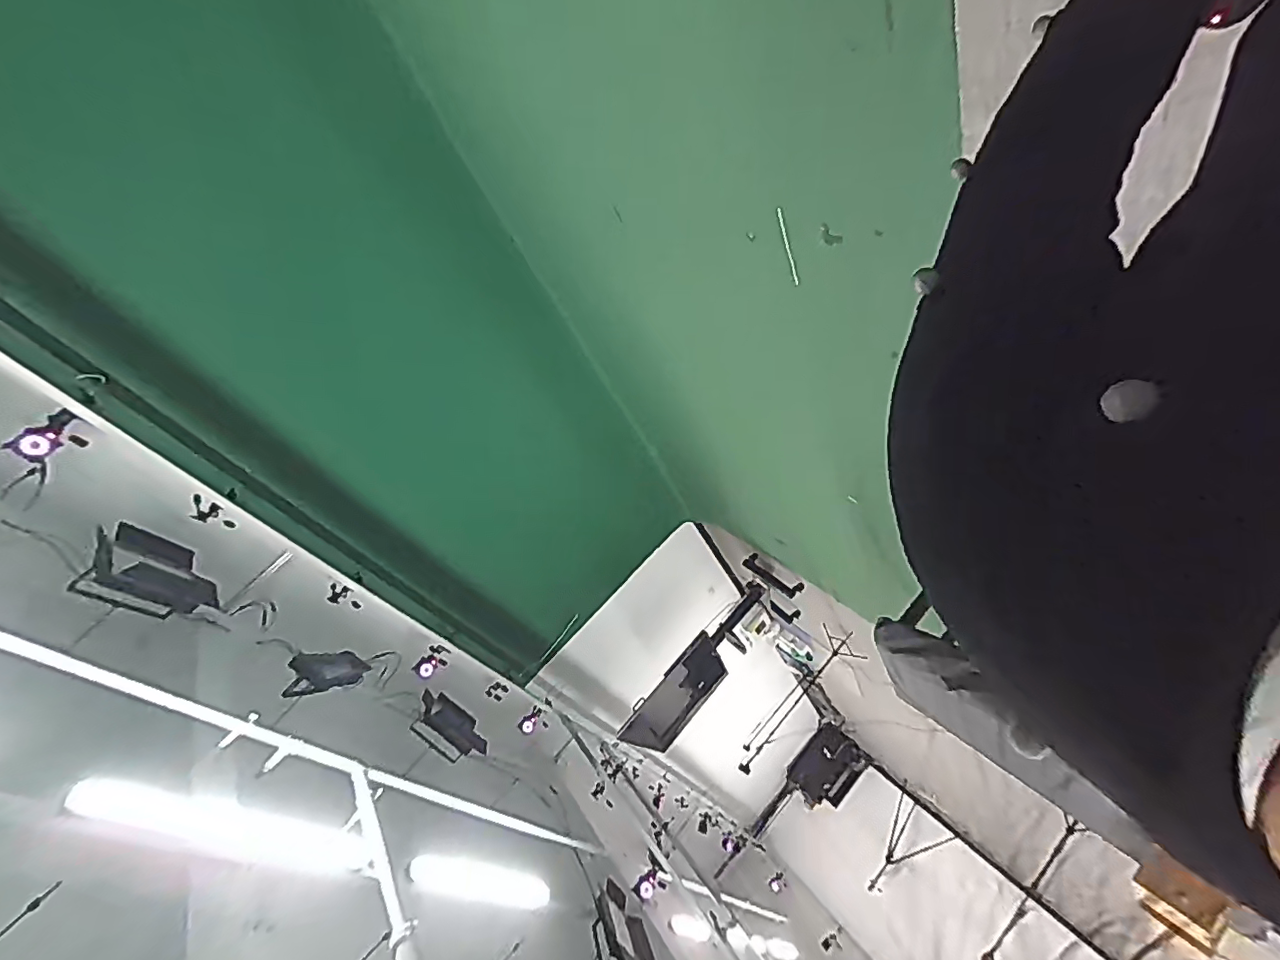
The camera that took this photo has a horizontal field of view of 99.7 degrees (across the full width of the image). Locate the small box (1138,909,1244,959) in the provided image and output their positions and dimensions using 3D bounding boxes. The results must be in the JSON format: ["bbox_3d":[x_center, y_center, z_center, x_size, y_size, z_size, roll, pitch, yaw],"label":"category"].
[{"bbox_3d":[1.735,1.405,1.709,0.179,0.176,0.168,32,162,49],"label":"small box"}]

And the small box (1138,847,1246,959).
[{"bbox_3d":[1.595,1.217,1.561,0.168,0.176,0.179,53,168,-29],"label":"small box"}]
